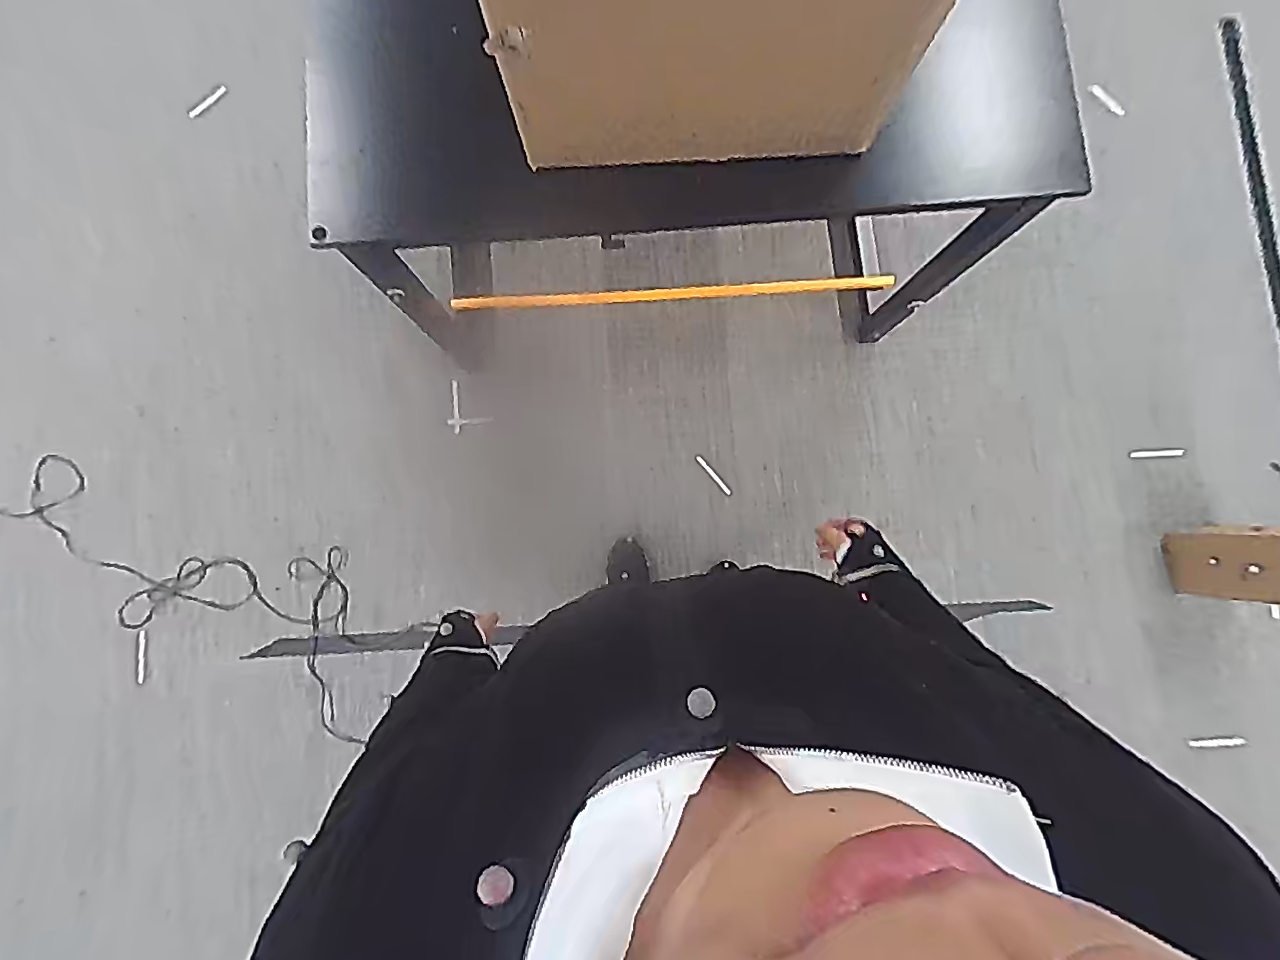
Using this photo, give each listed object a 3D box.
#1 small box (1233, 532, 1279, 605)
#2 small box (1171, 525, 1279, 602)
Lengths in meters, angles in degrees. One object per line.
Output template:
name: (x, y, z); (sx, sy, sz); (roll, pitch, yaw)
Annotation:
small box: (1.570, 0.206, 1.264); (0.179, 0.176, 0.168); (-4, 85, 0)
small box: (1.568, 0.216, 1.428); (0.168, 0.176, 0.179); (-8, 86, -1)
